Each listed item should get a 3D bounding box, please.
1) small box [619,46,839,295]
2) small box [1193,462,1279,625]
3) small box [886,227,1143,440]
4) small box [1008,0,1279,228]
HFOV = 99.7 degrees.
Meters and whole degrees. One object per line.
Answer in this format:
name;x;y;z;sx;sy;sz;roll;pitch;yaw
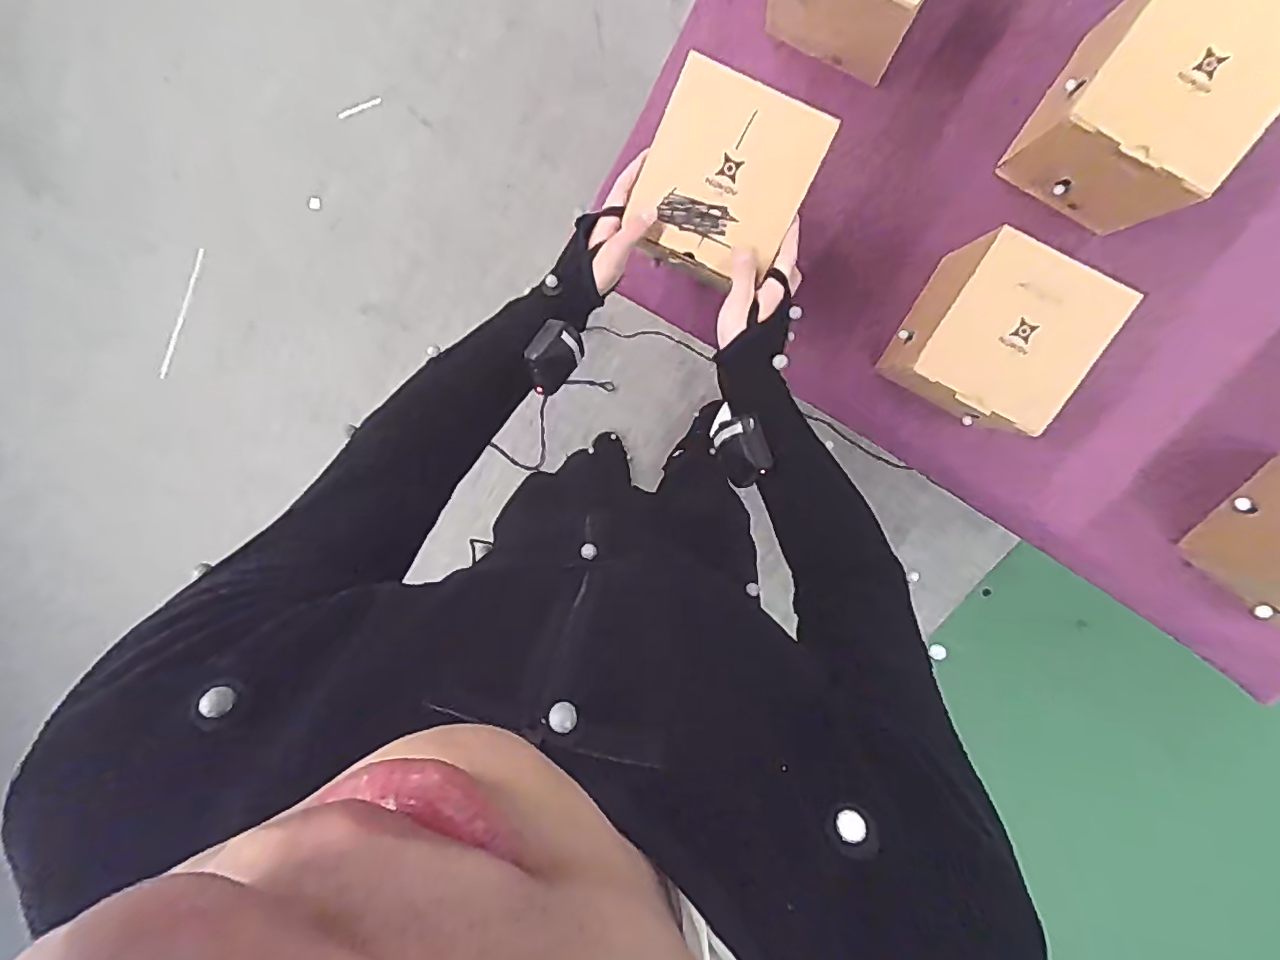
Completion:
small box;0.097;-0.328;0.620;0.168;0.176;0.179;27;106;0
small box;0.841;0.097;0.647;0.168;0.176;0.179;38;105;1
small box;0.431;-0.172;0.666;0.168;0.176;0.179;29;105;2
small box;0.558;-0.410;0.591;0.168;0.176;0.179;32;107;2
